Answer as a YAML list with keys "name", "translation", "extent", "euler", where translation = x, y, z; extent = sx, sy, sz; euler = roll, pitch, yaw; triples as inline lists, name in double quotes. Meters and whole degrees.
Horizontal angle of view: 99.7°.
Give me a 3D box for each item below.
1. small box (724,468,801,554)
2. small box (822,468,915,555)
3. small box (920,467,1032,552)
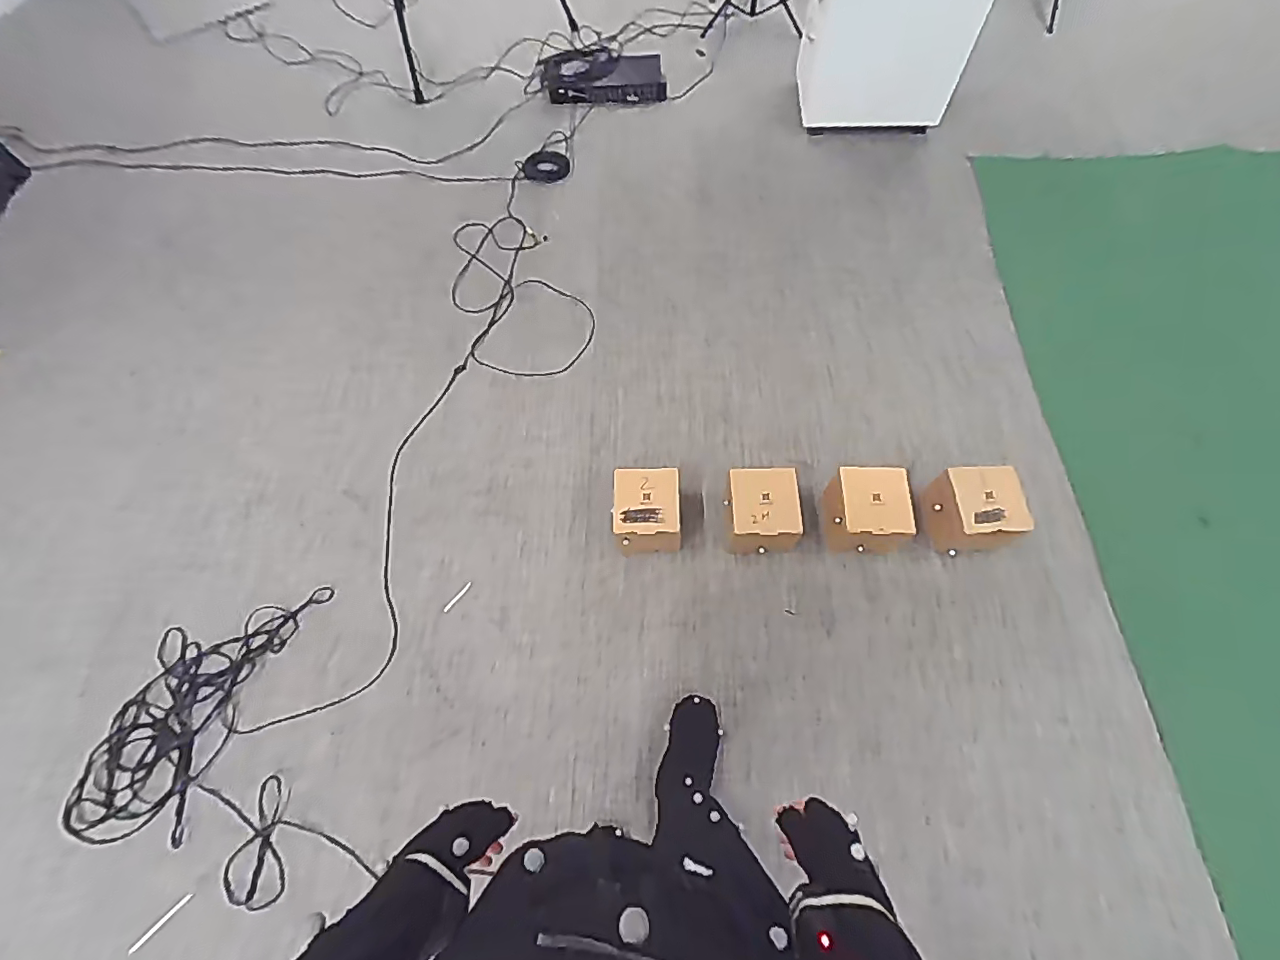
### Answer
- name: "small box"
  translation: [0.309, 0.084, 1.399]
  extent: [0.168, 0.176, 0.179]
  euler: [-1, 66, 3]
- name: "small box"
  translation: [0.578, 0.083, 1.392]
  extent: [0.168, 0.176, 0.179]
  euler: [1, 66, 2]
- name: "small box"
  translation: [0.846, 0.083, 1.381]
  extent: [0.168, 0.176, 0.179]
  euler: [-2, 65, 1]
